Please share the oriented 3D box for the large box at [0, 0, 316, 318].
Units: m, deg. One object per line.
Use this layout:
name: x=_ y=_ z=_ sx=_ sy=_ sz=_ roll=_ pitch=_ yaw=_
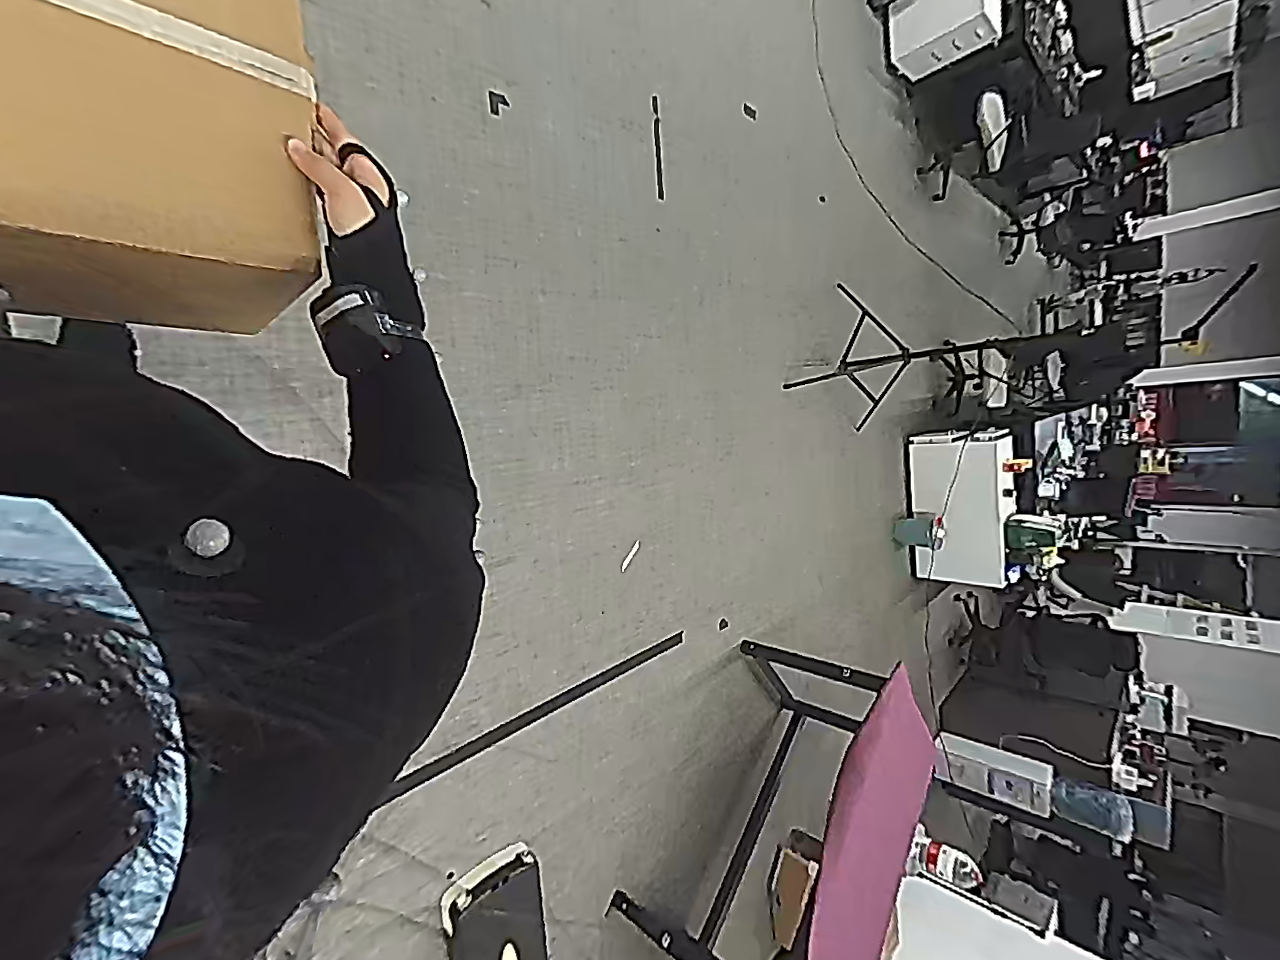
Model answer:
large box: x=-0.539 y=-0.329 z=0.436 sx=0.408 sy=0.320 sz=0.320 roll=-7 pitch=96 yaw=-44
